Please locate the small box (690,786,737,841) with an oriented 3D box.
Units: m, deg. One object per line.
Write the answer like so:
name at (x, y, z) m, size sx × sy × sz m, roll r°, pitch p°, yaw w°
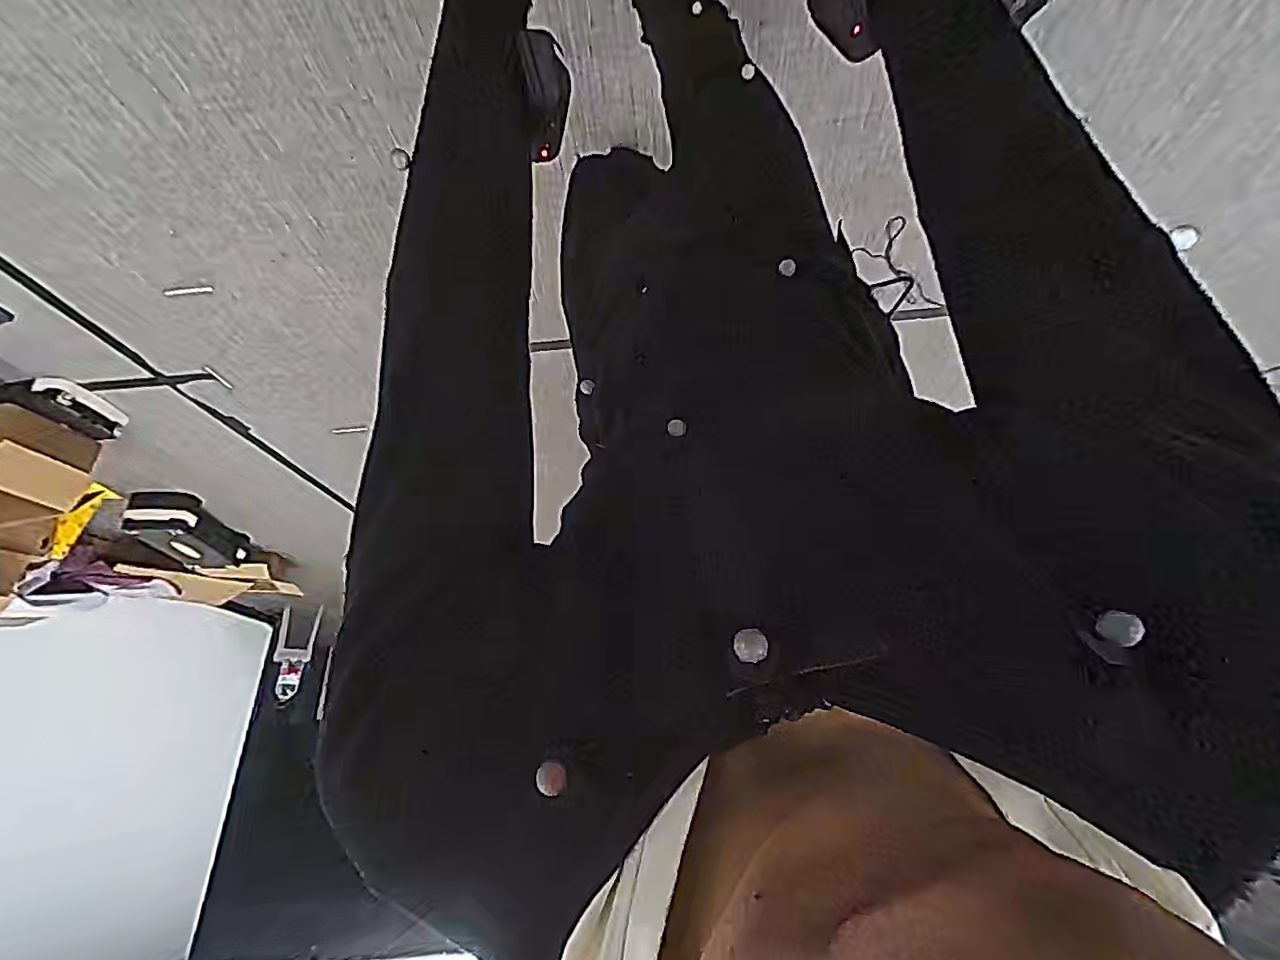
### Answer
small box at (0.293, 1.337, 2.177) m, size 0.168 × 0.176 × 0.179 m, roll -5°, pitch 154°, yaw 3°
